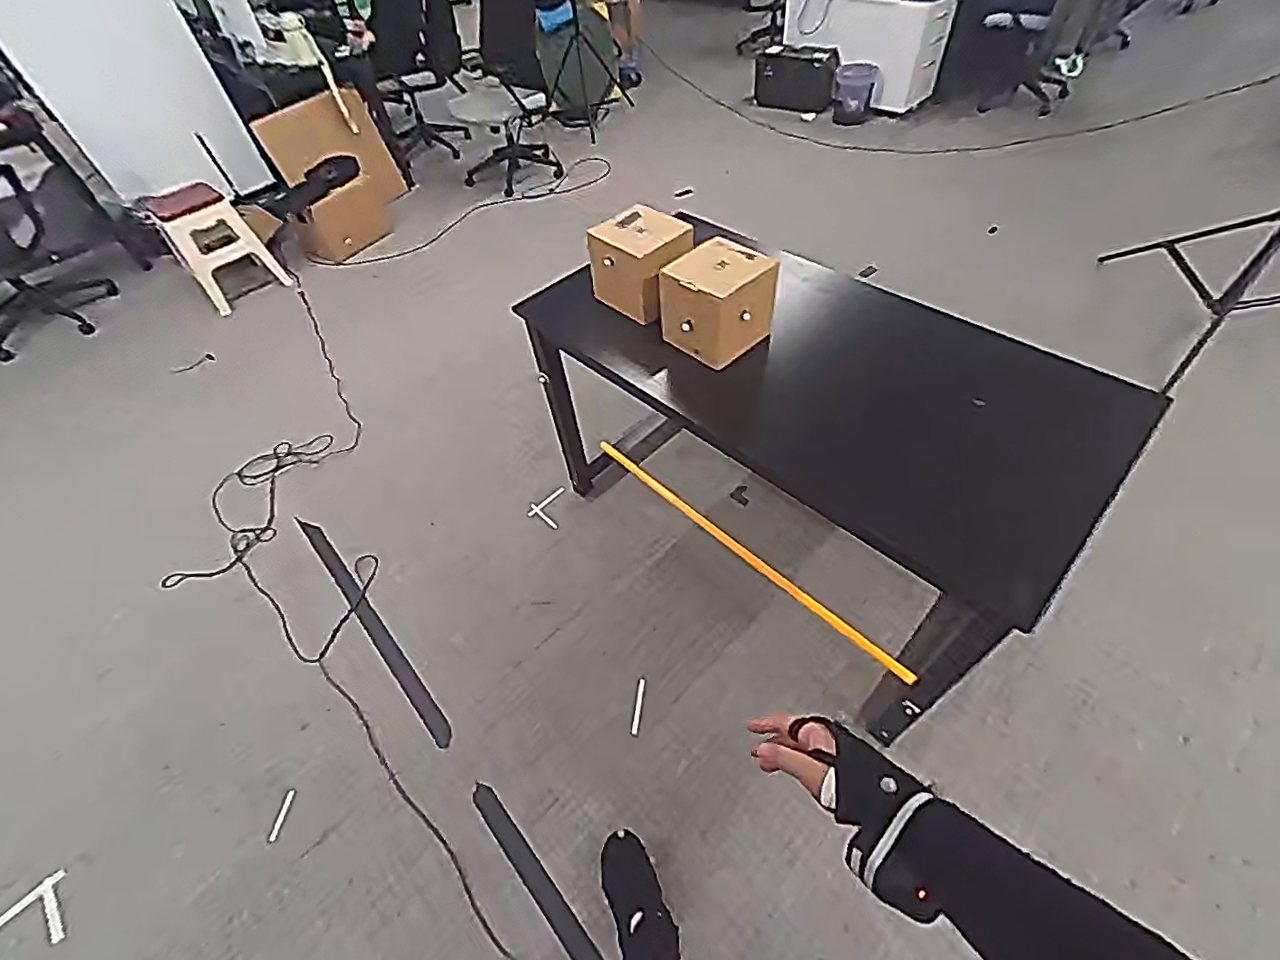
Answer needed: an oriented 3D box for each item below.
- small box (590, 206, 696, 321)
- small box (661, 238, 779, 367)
[{"bbox_3d":[0.010,-0.494,1.239,0.168,0.176,0.179,-39,59,-23],"label":"small box"},{"bbox_3d":[0.164,-0.365,1.123,0.179,0.176,0.168,-39,59,-23],"label":"small box"}]
